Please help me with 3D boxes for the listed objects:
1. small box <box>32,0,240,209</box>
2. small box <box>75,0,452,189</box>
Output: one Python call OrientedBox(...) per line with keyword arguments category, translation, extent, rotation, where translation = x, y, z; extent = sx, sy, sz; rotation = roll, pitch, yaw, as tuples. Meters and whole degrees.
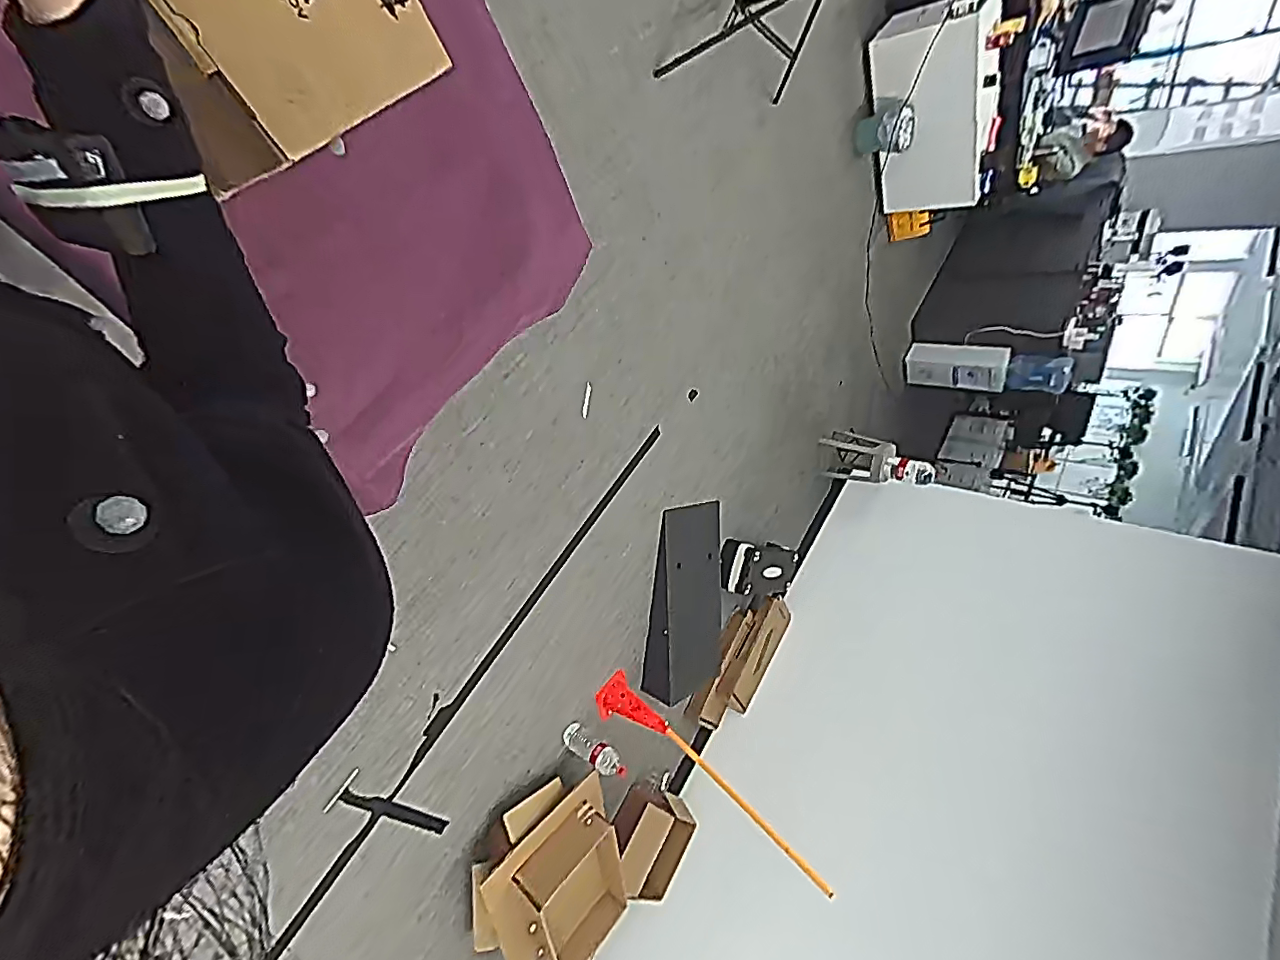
OrientedBox(category="small box", translation=(-0.422, -0.389, 0.525), extent=(0.179, 0.176, 0.168), rotation=(-54, 137, -24))
OrientedBox(category="small box", translation=(-0.295, -0.357, 0.425), extent=(0.179, 0.176, 0.168), rotation=(-54, 137, -24))
